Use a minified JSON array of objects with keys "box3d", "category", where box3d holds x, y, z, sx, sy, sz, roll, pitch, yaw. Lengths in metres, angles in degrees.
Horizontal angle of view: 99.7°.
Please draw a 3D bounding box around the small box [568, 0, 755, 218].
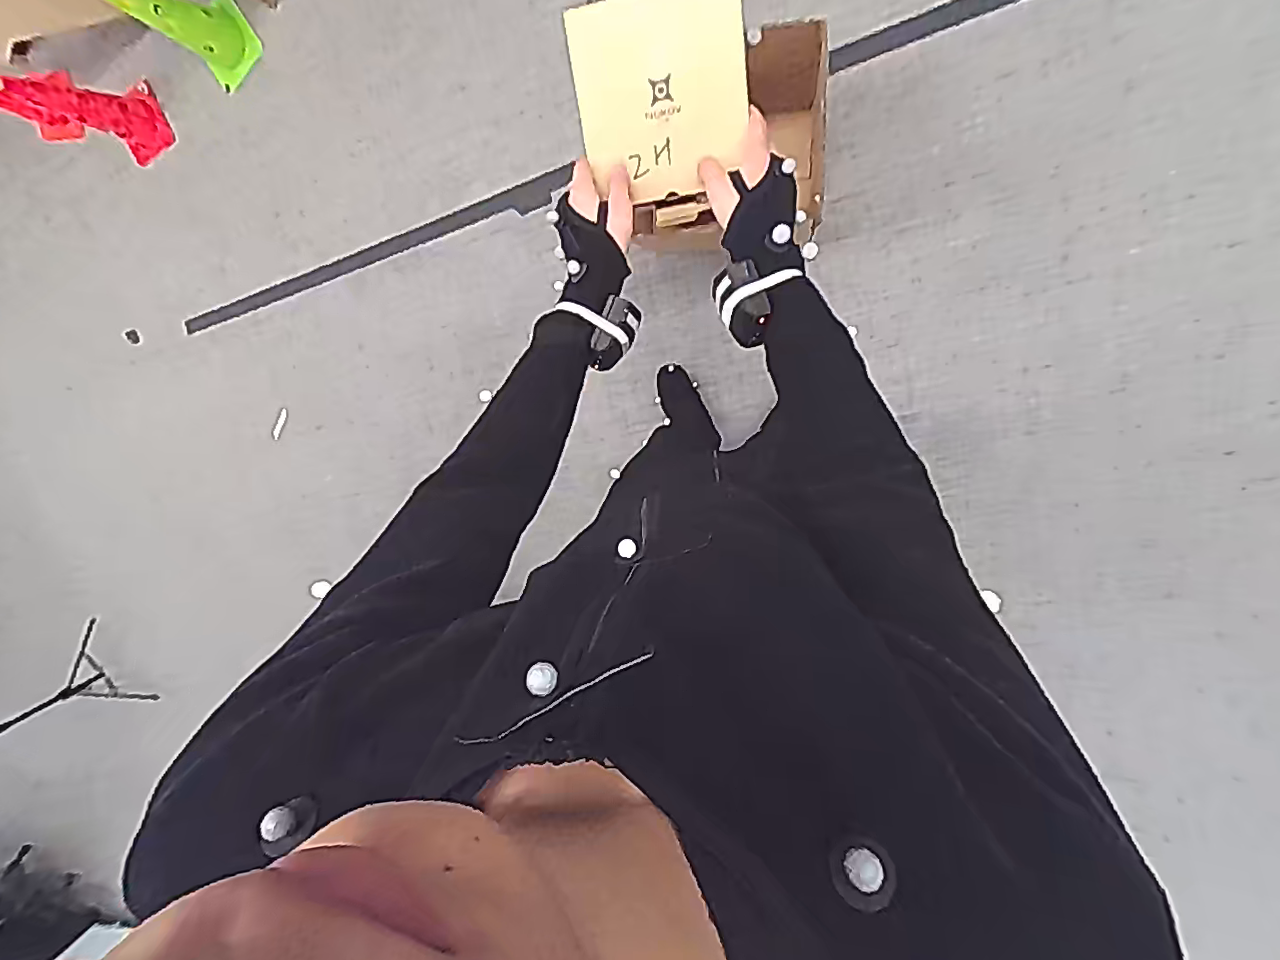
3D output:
[{"box3d":[0.035,-0.393,0.589,0.168,0.176,0.179,-4,115,12],"category":"small box"}]
